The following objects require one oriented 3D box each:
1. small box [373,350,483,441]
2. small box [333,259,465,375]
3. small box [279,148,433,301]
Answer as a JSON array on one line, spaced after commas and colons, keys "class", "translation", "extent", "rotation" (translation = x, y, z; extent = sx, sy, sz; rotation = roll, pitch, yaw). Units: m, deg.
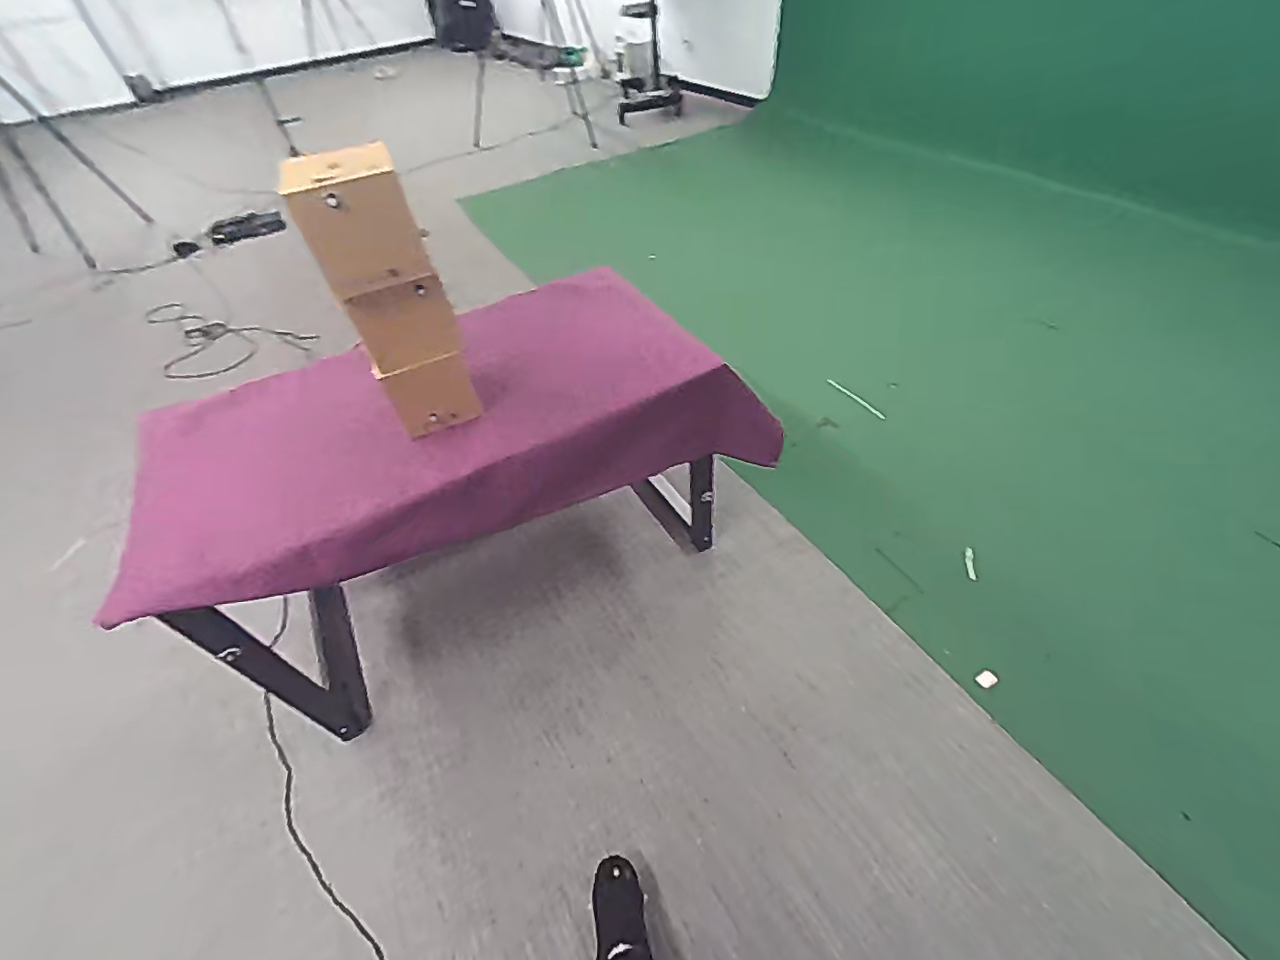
[{"class": "small box", "translation": [-0.451, -0.213, 1.146], "extent": [0.168, 0.176, 0.179], "rotation": [-23, 50, -13]}, {"class": "small box", "translation": [-0.459, -0.326, 1.030], "extent": [0.179, 0.176, 0.168], "rotation": [-24, 49, -15]}, {"class": "small box", "translation": [-0.462, -0.422, 0.896], "extent": [0.168, 0.176, 0.179], "rotation": [-22, 48, -13]}]
